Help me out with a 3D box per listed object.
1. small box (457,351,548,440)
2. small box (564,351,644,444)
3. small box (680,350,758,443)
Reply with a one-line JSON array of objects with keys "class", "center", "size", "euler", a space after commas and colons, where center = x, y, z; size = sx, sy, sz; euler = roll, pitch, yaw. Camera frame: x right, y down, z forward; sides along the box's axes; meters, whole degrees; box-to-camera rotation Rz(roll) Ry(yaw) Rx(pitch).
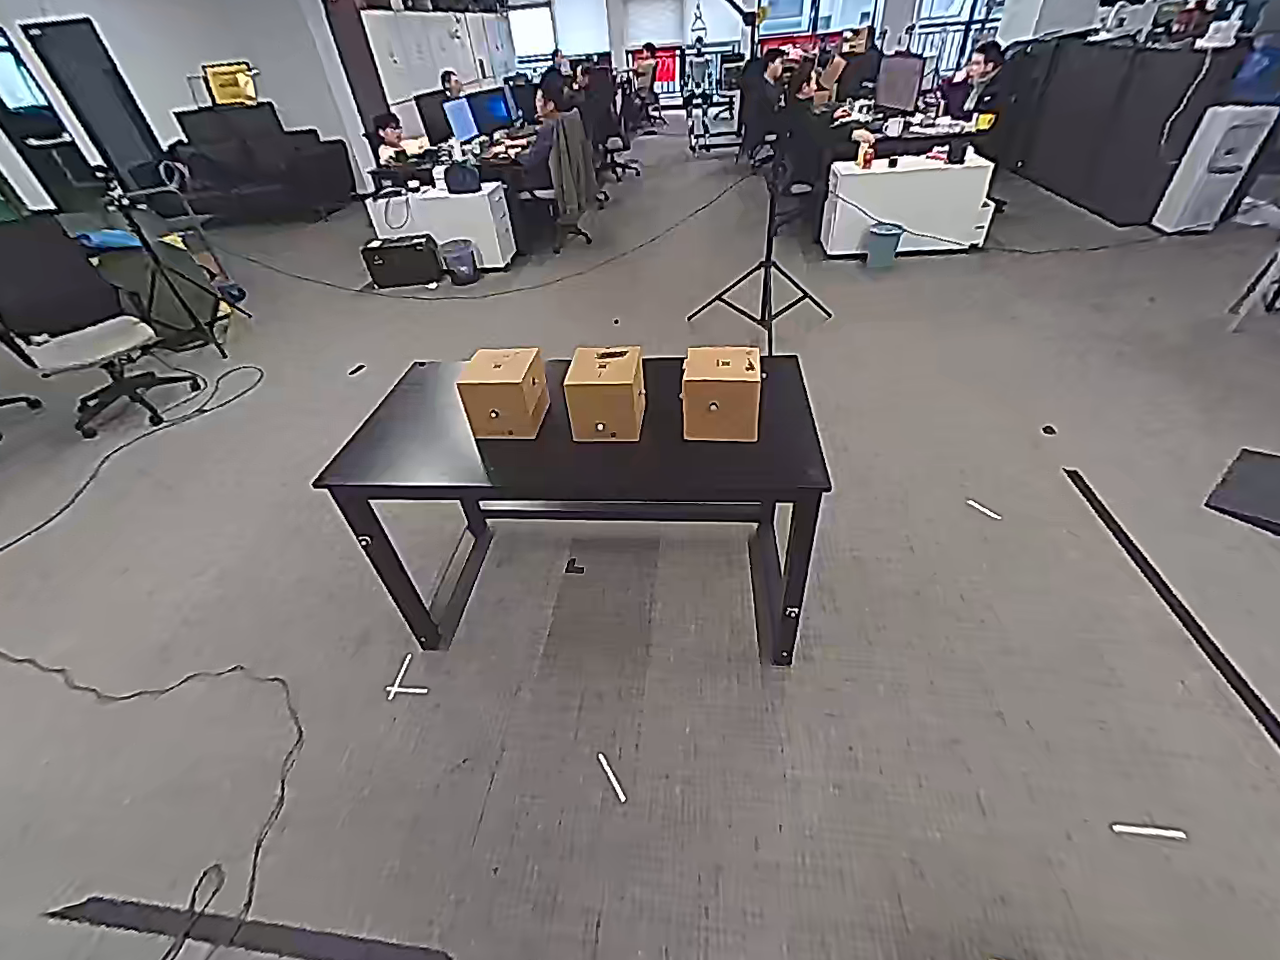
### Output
[{"class": "small box", "center": [-0.344, -0.217, 1.394], "size": [0.168, 0.176, 0.179], "euler": [1, 40, 7]}, {"class": "small box", "center": [-0.082, -0.208, 1.354], "size": [0.168, 0.176, 0.179], "euler": [0, 41, 7]}, {"class": "small box", "center": [0.196, -0.203, 1.317], "size": [0.179, 0.176, 0.168], "euler": [1, 40, 10]}]
